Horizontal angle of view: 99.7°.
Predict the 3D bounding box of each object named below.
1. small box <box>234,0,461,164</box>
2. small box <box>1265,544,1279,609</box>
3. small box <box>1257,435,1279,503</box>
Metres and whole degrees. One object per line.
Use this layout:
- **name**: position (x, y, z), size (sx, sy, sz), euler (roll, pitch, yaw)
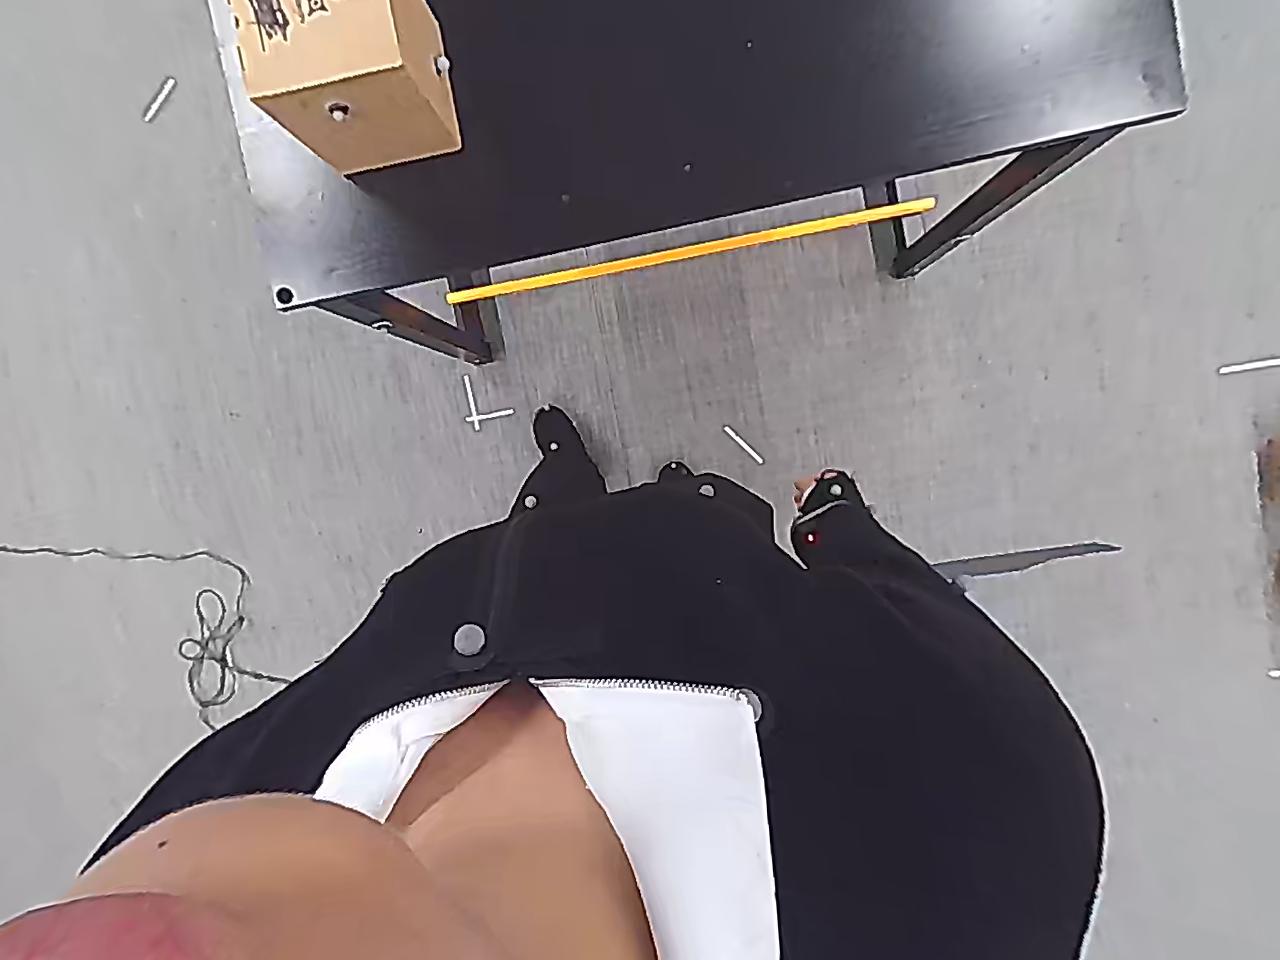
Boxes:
- **small box**: position (-0.342, -0.513, 0.651), size (0.179, 0.176, 0.168), euler (-9, 94, 3)
- **small box**: position (1.708, 0.253, 1.322), size (0.168, 0.176, 0.179), euler (-11, 94, 4)
- **small box**: position (1.656, -0.030, 1.302), size (0.179, 0.176, 0.168), euler (-7, 94, 5)
